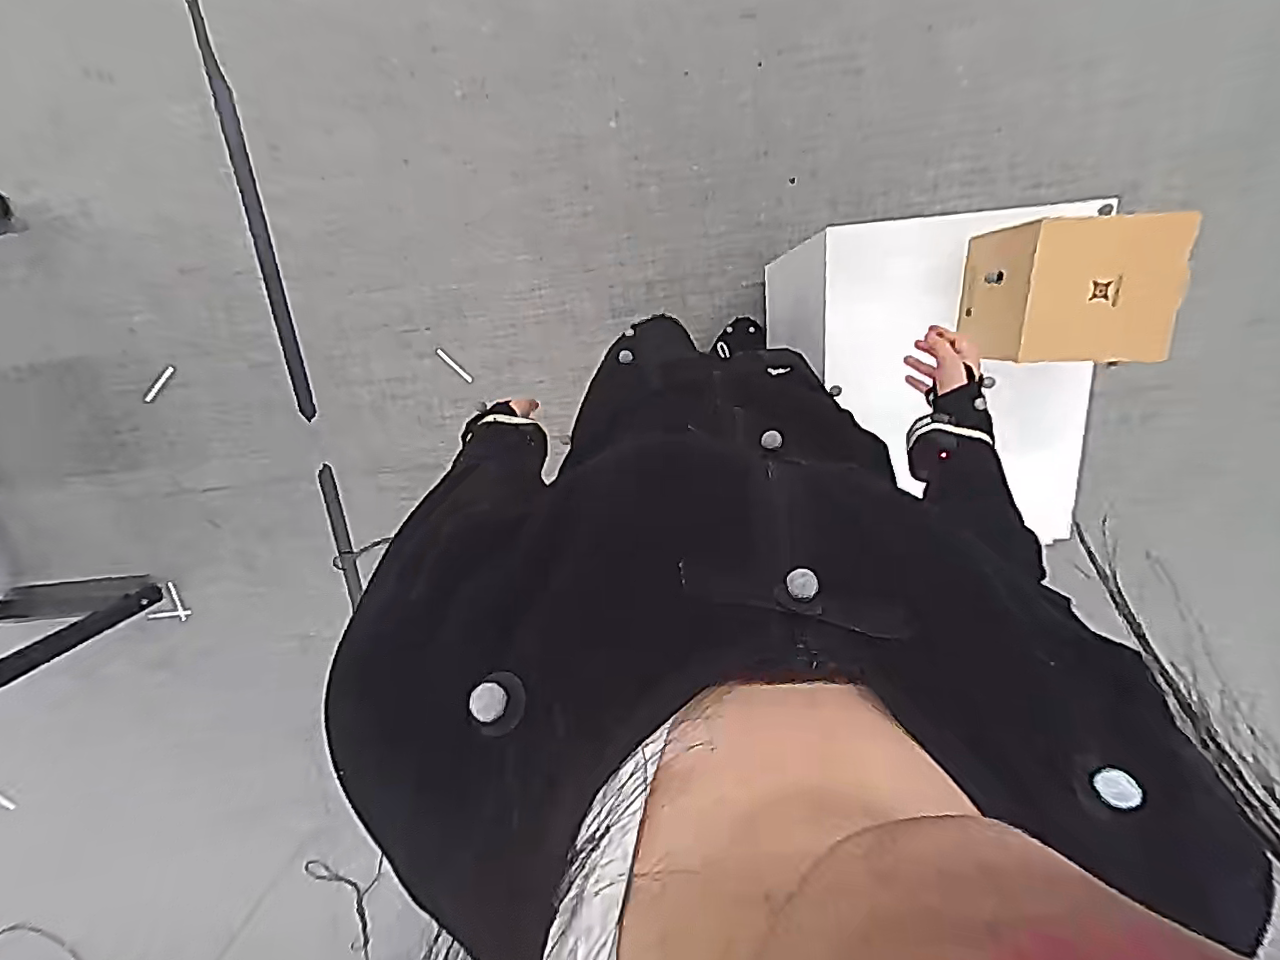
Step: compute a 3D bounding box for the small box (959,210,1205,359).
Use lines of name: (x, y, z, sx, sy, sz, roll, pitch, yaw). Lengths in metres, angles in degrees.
small box: (0.551, -0.246, 0.706, 0.179, 0.176, 0.168, 0, 107, 4)
